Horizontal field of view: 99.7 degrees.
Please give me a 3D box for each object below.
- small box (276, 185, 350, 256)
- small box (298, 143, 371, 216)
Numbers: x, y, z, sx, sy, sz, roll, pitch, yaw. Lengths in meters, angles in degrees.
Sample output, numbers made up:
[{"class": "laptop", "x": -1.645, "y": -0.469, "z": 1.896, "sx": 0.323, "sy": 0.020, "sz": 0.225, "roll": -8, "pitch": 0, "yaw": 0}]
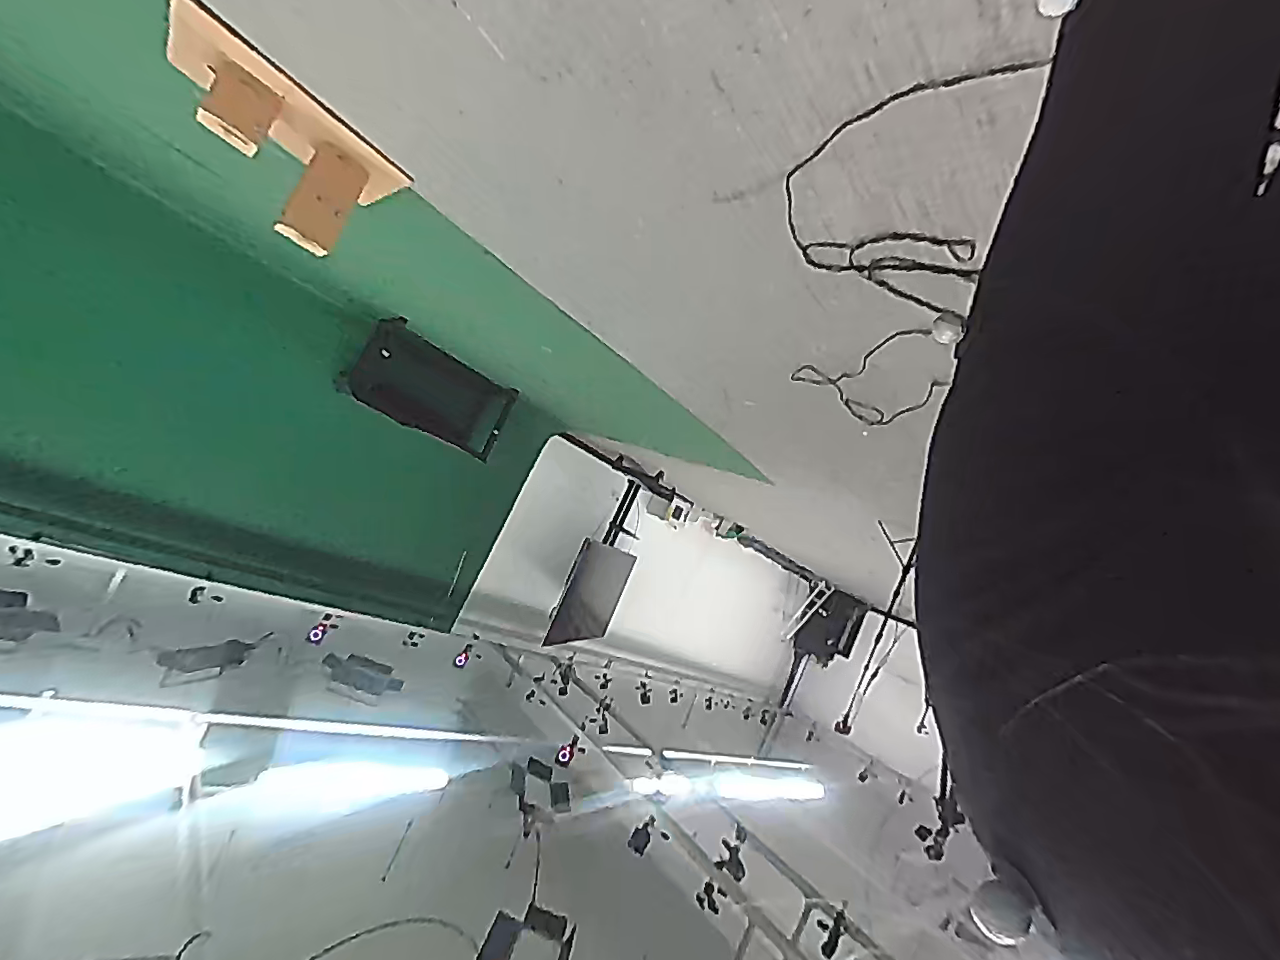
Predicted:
[{"class": "small box", "x": -1.190, "y": -0.946, "z": 1.972, "sx": 0.179, "sy": 0.176, "sz": 0.168, "roll": 21, "pitch": 173, "yaw": 46}, {"class": "small box", "x": -1.121, "y": -1.094, "z": 1.986, "sx": 0.168, "sy": 0.176, "sz": 0.179, "roll": 29, "pitch": 173, "yaw": -42}]
